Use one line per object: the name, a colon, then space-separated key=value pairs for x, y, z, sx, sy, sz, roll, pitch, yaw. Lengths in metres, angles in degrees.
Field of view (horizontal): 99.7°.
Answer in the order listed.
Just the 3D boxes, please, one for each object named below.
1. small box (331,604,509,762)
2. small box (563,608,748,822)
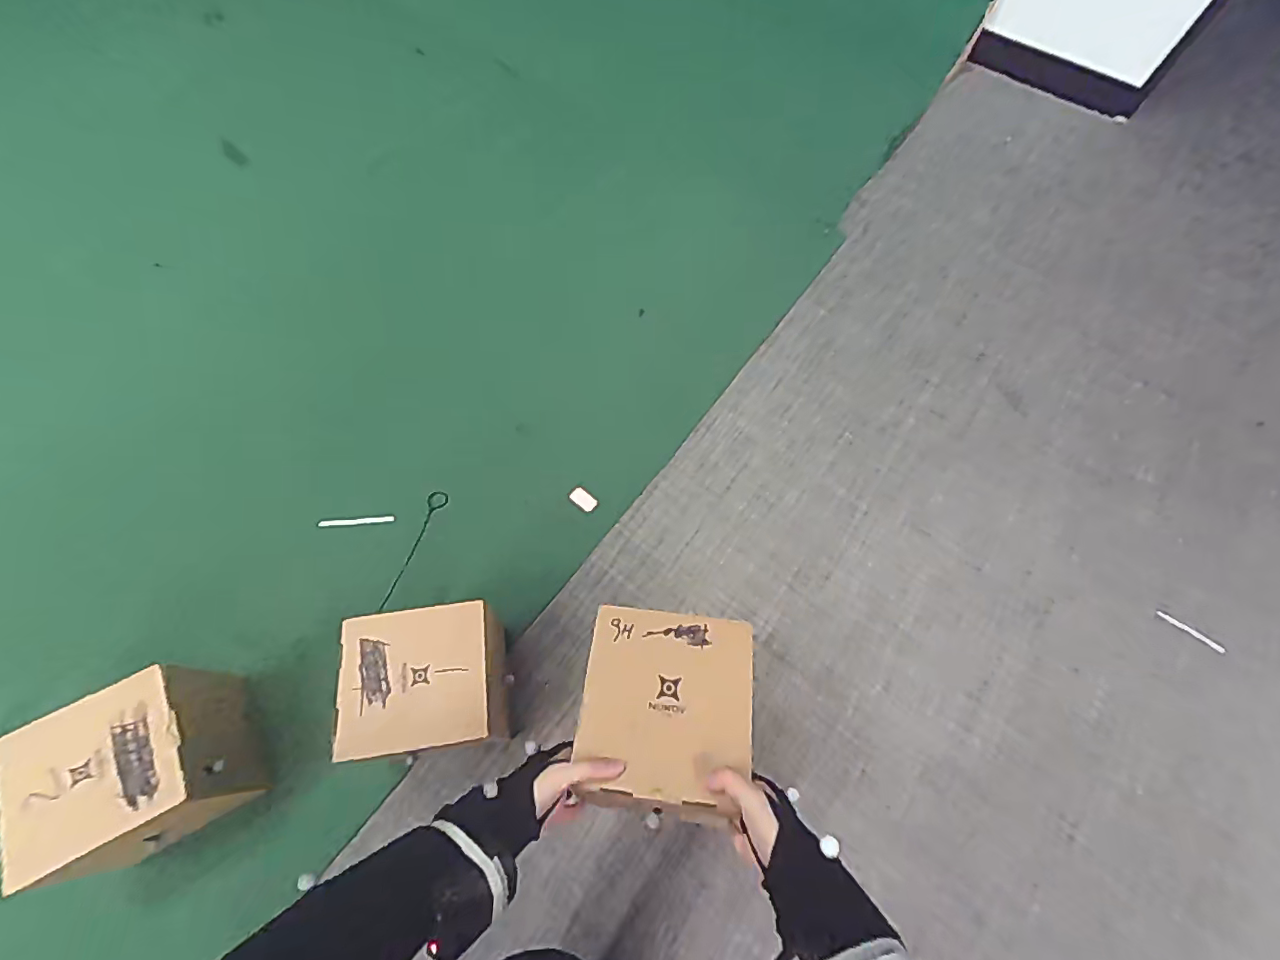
small box: x=-0.280 y=0.277 z=0.726 sx=0.179 sy=0.176 sz=0.168 roll=-6 pitch=64 yaw=-7
small box: x=0.024 y=0.263 z=0.596 sx=0.168 sy=0.176 sz=0.179 roll=6 pitch=55 yaw=6
